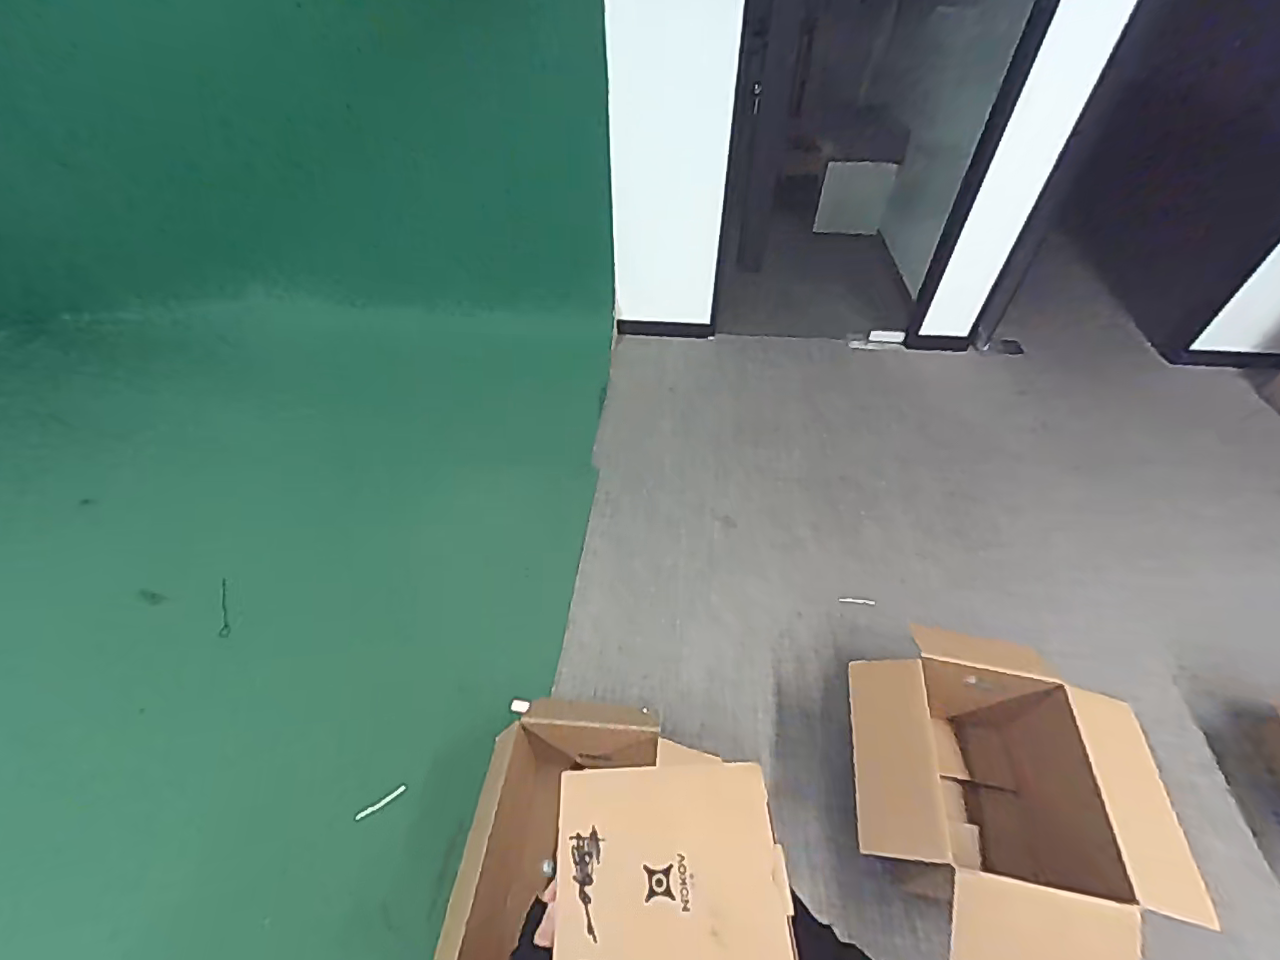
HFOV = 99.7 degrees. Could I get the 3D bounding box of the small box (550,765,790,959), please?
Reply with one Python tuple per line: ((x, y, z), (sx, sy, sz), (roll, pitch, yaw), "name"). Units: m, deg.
((0.018, 0.363, 0.475), (0.179, 0.176, 0.168), (0, 47, -3), "small box")
